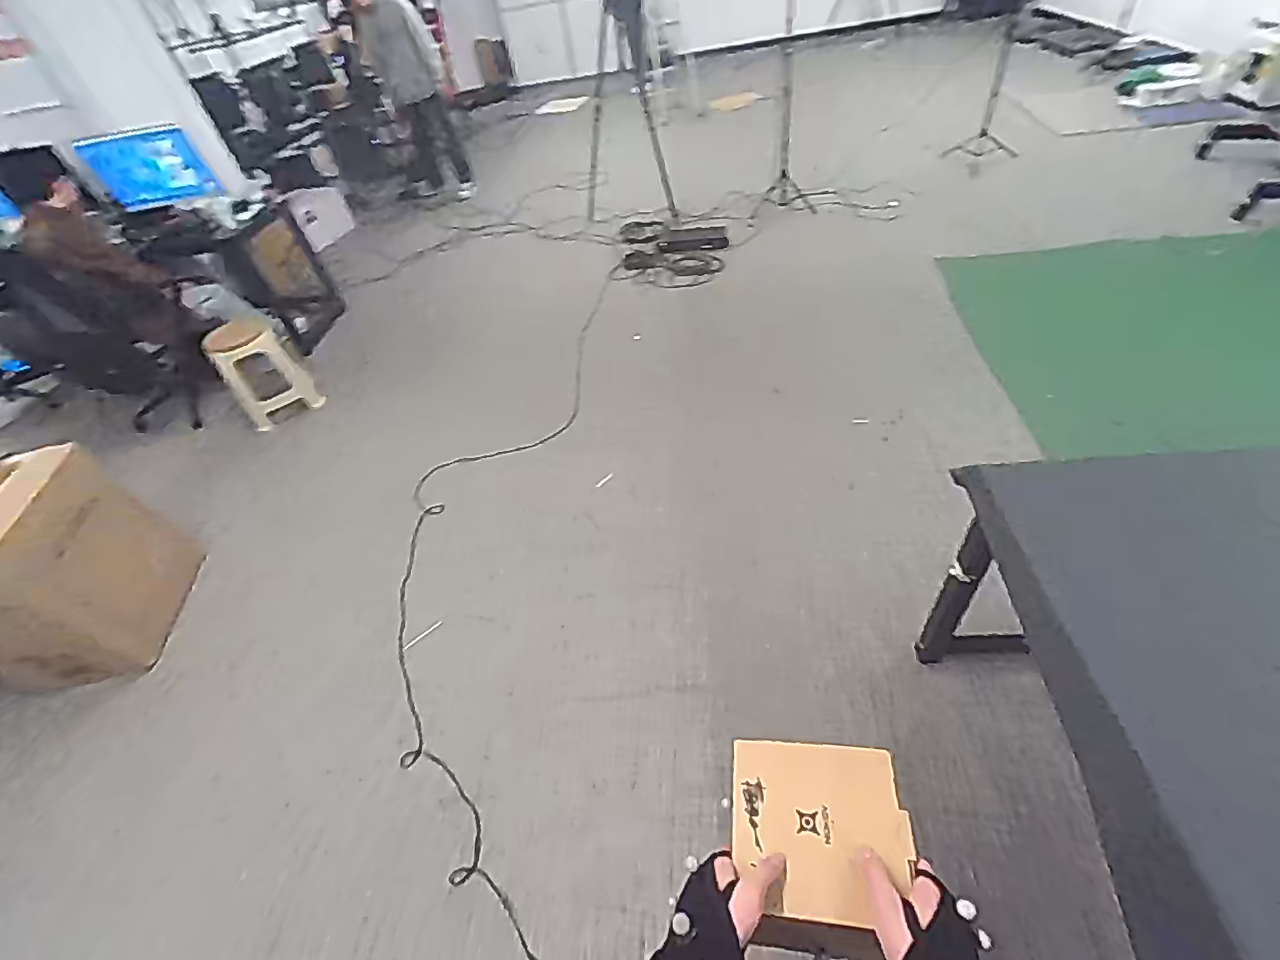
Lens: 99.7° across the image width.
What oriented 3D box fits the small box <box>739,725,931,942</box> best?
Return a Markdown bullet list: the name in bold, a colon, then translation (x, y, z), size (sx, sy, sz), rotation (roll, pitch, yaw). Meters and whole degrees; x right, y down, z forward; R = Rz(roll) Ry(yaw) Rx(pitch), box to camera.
- **small box**: translation (0.204, 0.404, 0.619), size (0.179, 0.176, 0.168), rotation (-1, 43, 12)
